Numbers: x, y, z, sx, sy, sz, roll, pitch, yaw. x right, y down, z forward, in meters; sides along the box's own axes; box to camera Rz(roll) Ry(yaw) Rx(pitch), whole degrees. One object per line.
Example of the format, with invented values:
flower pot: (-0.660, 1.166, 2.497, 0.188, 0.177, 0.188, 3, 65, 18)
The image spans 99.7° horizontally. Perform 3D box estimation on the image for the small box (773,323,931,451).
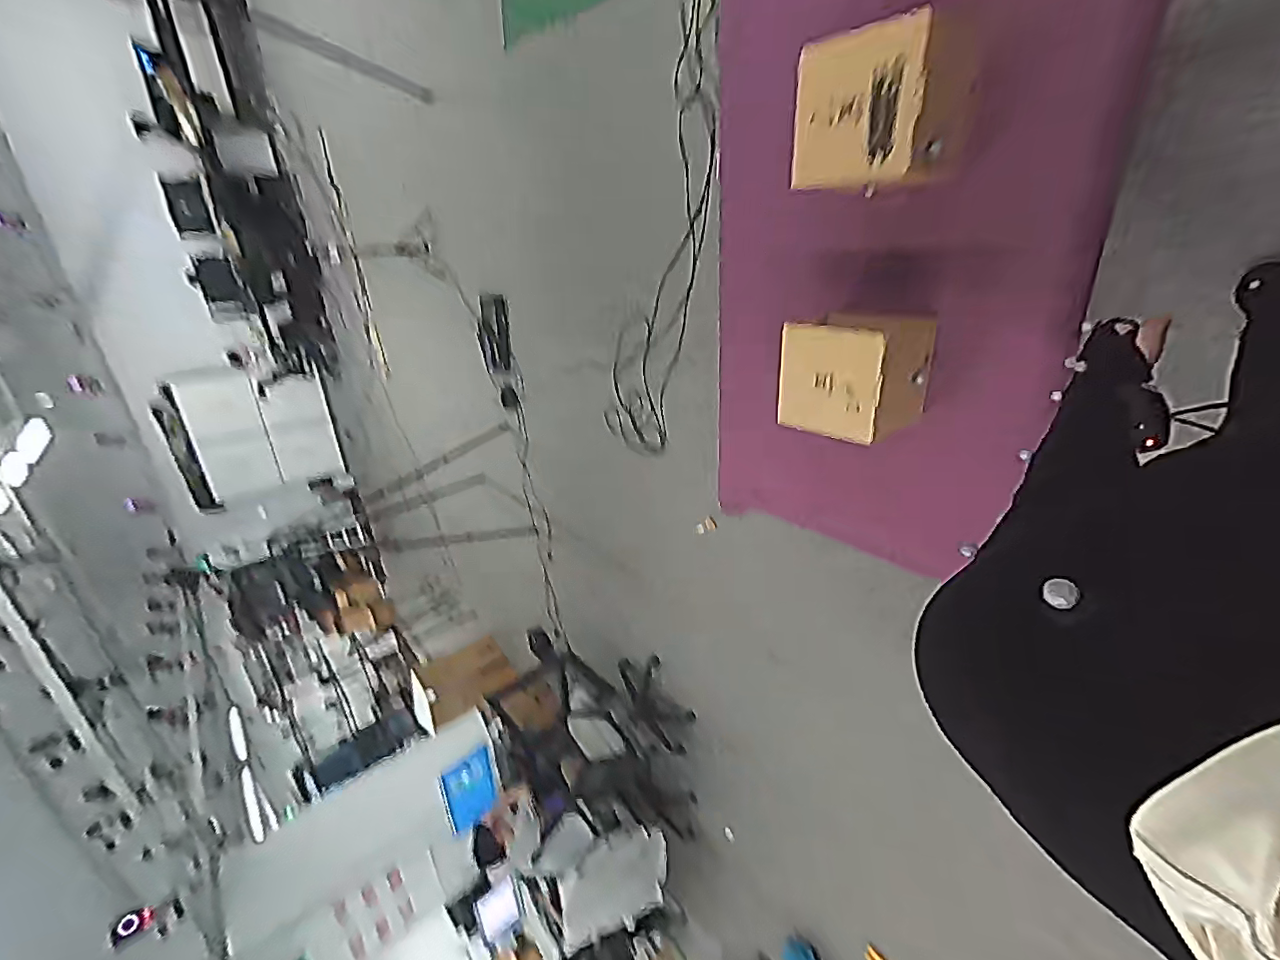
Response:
small box: (0.346, -0.163, 0.894, 0.179, 0.176, 0.168, 23, 124, 45)
